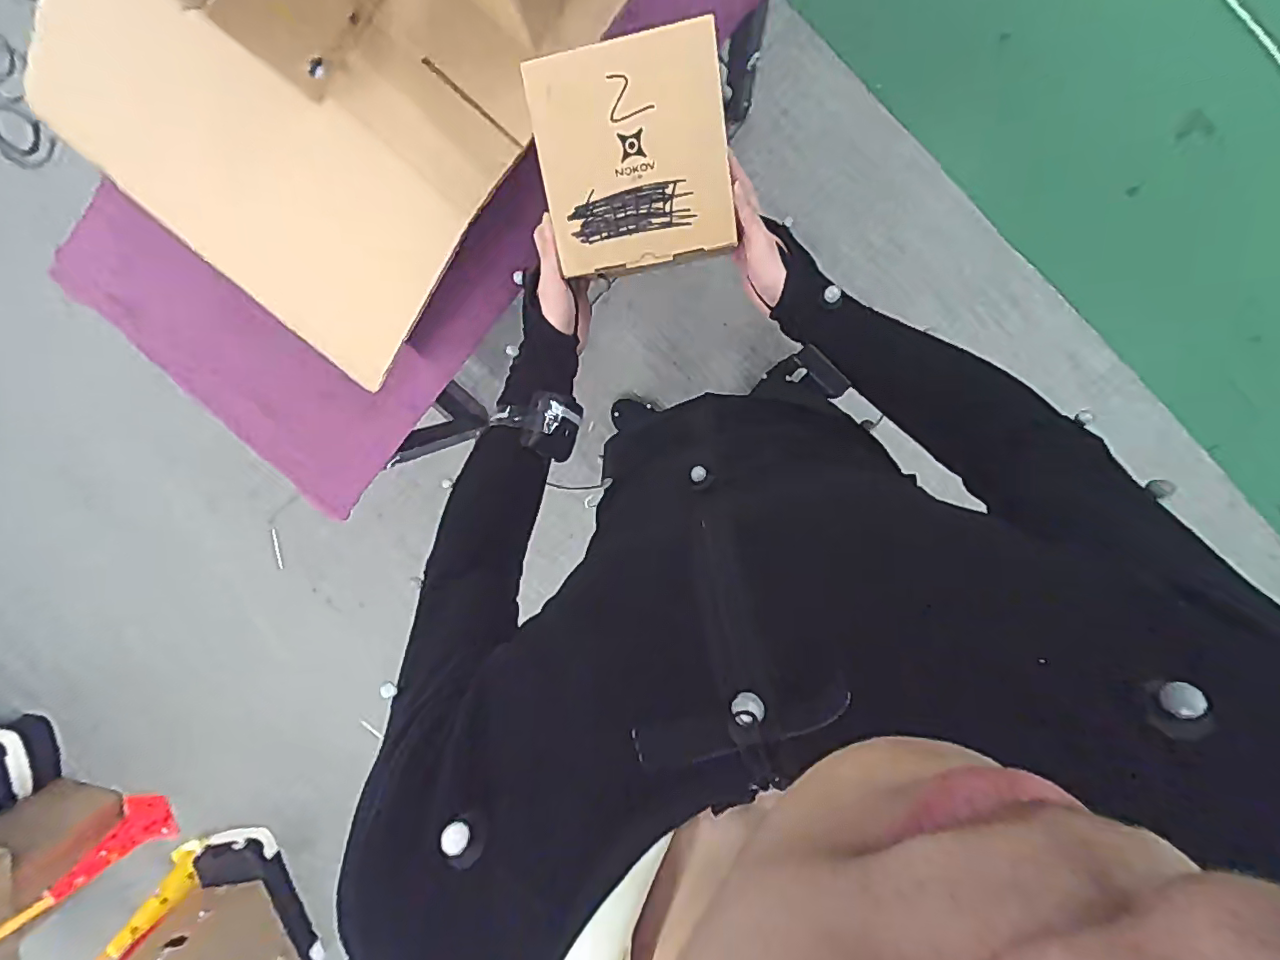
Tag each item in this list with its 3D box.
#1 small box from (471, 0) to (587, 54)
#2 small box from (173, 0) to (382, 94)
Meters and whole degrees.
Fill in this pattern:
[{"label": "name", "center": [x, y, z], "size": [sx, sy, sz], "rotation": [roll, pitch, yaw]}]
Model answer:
[{"label": "small box", "center": [-0.136, -0.587, 0.535], "size": [0.179, 0.176, 0.168], "rotation": [40, 101, -4]}, {"label": "small box", "center": [-0.412, -0.551, 0.561], "size": [0.179, 0.176, 0.168], "rotation": [40, 100, -3]}]
